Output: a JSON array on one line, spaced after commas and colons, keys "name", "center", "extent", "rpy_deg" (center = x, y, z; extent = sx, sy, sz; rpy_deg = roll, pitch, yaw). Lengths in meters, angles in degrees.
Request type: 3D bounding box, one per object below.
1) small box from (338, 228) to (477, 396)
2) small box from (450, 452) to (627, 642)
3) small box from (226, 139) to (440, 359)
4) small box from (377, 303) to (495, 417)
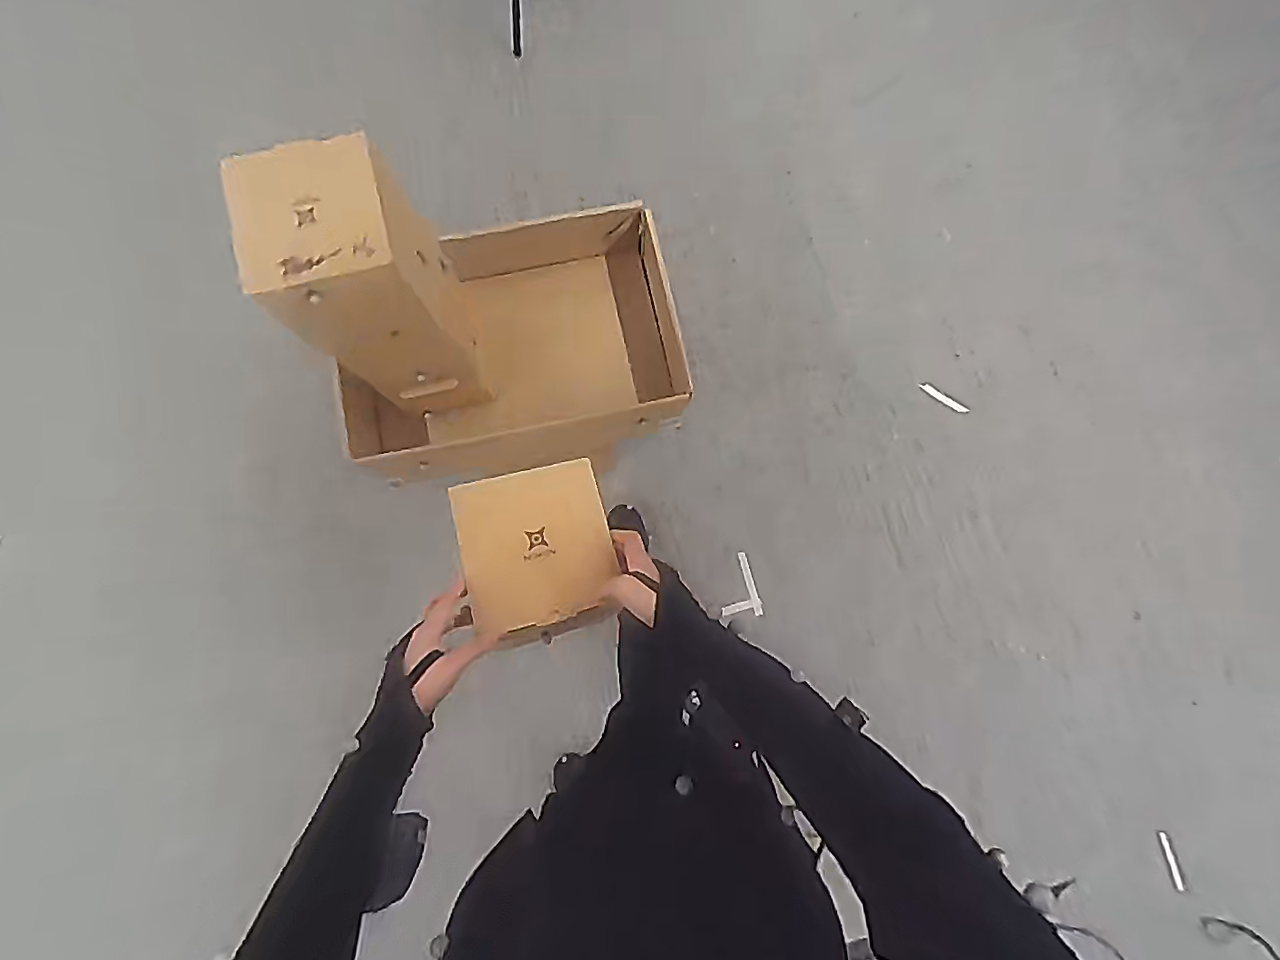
[{"name": "small box", "center": [-0.370, -0.252, 0.845], "extent": [0.168, 0.176, 0.179], "rpy_deg": [-15, 81, -3]}, {"name": "small box", "center": [-0.126, 0.090, 0.671], "extent": [0.168, 0.176, 0.179], "rpy_deg": [-13, 73, -13]}, {"name": "small box", "center": [-0.373, -0.279, 0.683], "extent": [0.168, 0.176, 0.179], "rpy_deg": [-15, 80, -3]}, {"name": "small box", "center": [-0.382, -0.227, 1.007], "extent": [0.168, 0.176, 0.179], "rpy_deg": [-13, 80, -4]}]
